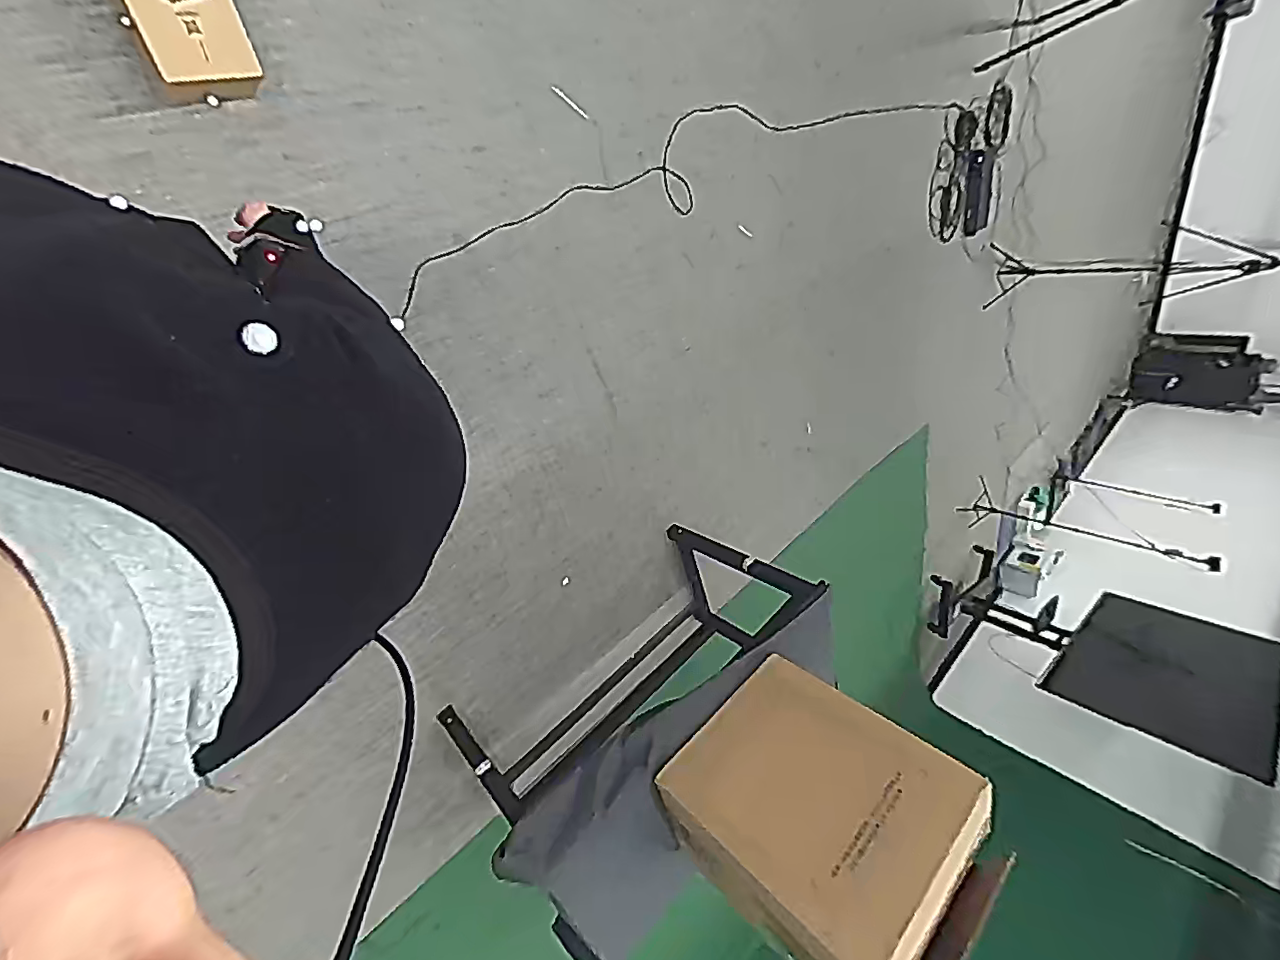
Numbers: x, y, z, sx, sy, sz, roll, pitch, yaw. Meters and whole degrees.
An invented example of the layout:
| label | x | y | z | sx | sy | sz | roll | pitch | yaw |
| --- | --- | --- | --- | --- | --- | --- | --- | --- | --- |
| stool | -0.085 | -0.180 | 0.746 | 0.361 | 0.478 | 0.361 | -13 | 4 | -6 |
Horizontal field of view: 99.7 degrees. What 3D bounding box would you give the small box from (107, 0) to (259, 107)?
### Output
| label | x | y | z | sx | sy | sz | roll | pitch | yaw |
| --- | --- | --- | --- | --- | --- | --- | --- | --- | --- |
| small box | -0.862 | -0.834 | 1.019 | 0.168 | 0.176 | 0.179 | -31 | 124 | -29 |
